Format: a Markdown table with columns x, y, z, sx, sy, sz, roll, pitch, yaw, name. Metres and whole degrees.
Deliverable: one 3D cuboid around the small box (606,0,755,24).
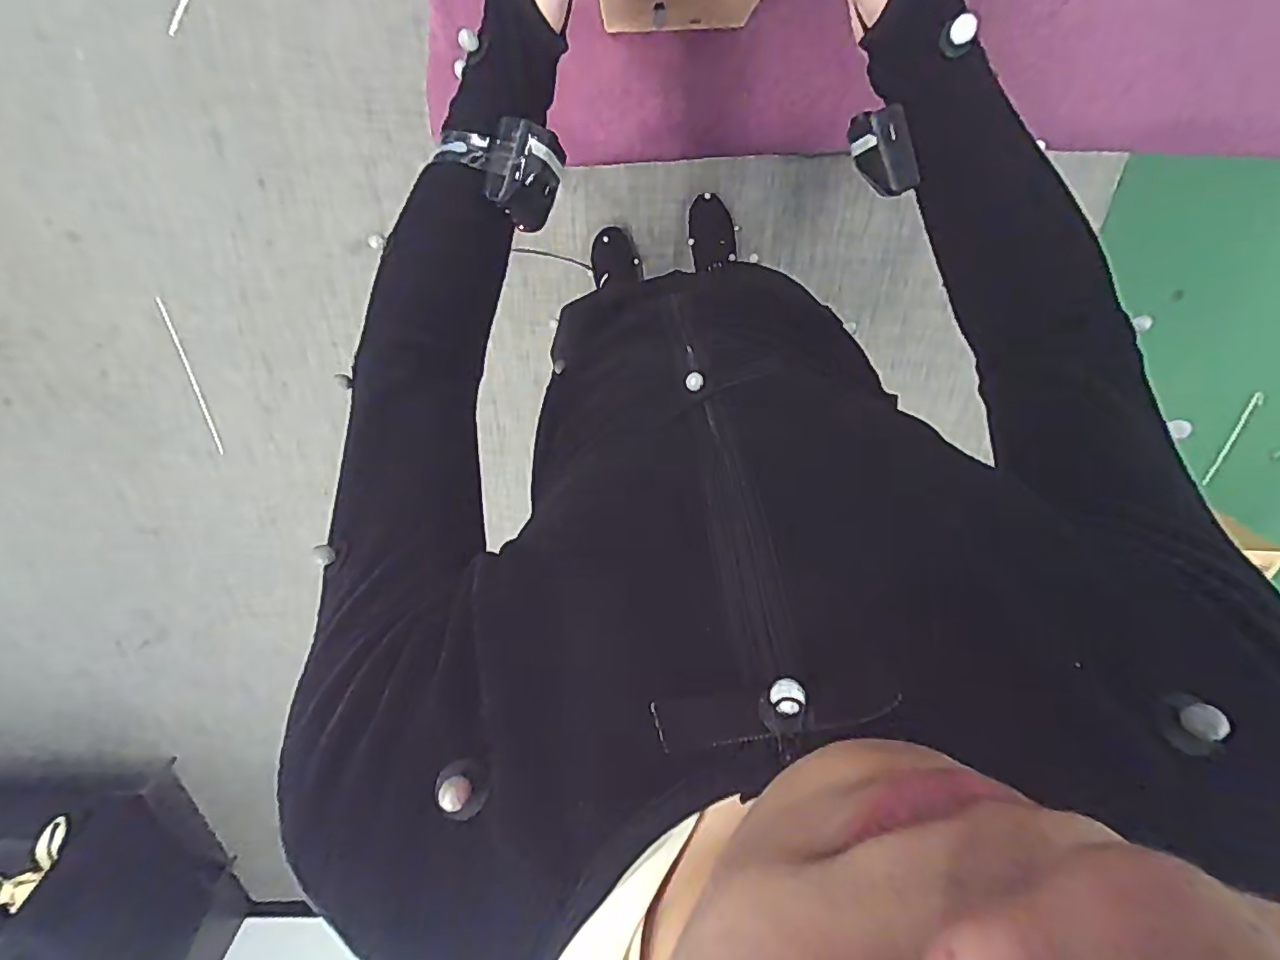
| x | y | z | sx | sy | sz | roll | pitch | yaw | name |
| --- | --- | --- | --- | --- | --- | --- | --- | --- | --- |
| 0.043 | -0.573 | 0.526 | 0.168 | 0.176 | 0.179 | -1 | 118 | 1 | small box |
